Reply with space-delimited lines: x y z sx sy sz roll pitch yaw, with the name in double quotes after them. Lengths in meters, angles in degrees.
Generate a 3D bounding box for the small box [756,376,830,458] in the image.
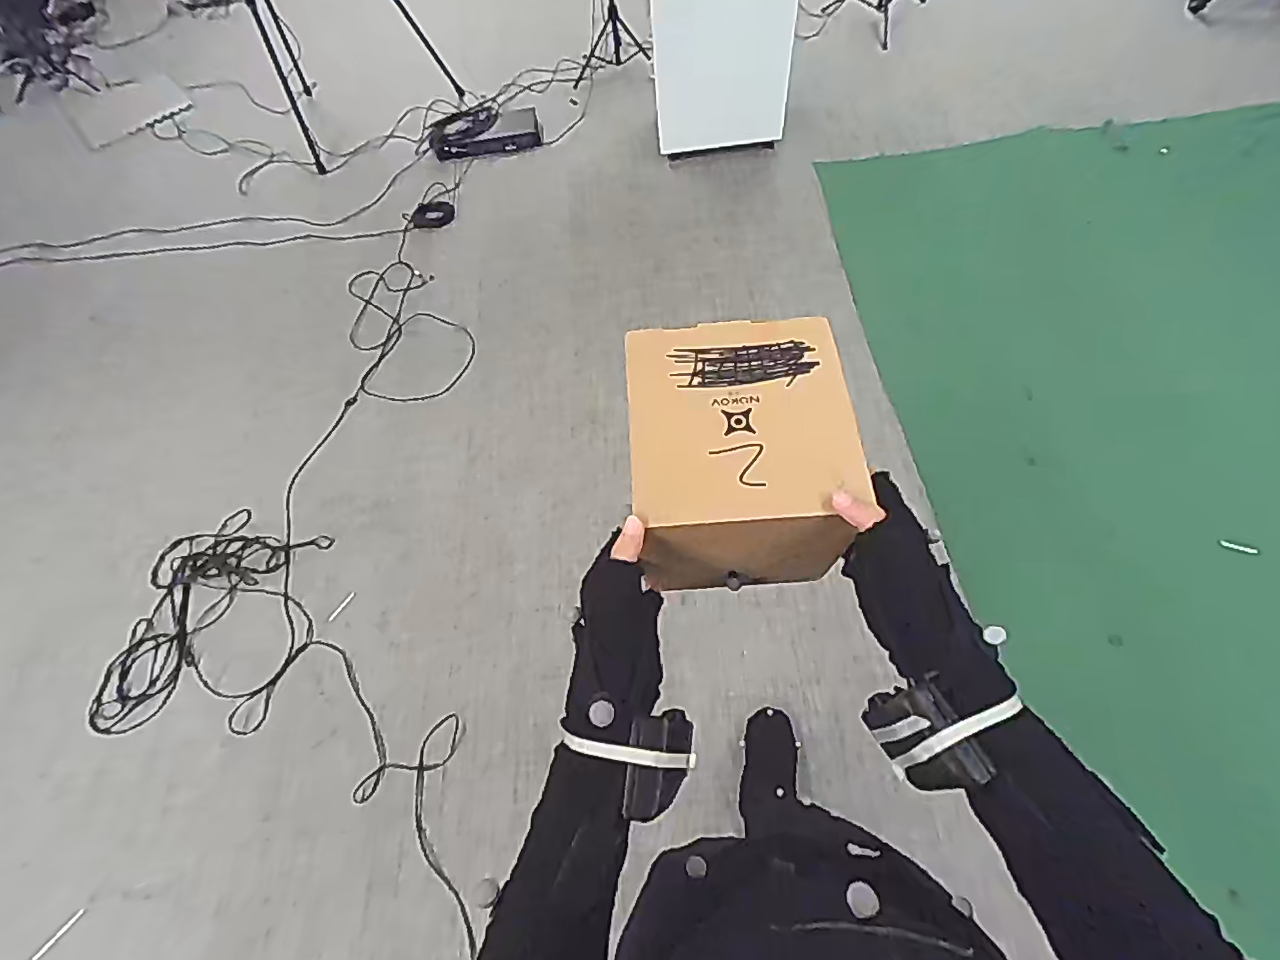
0.439 -0.174 1.572 0.168 0.176 0.179 -6 61 3 "small box"
